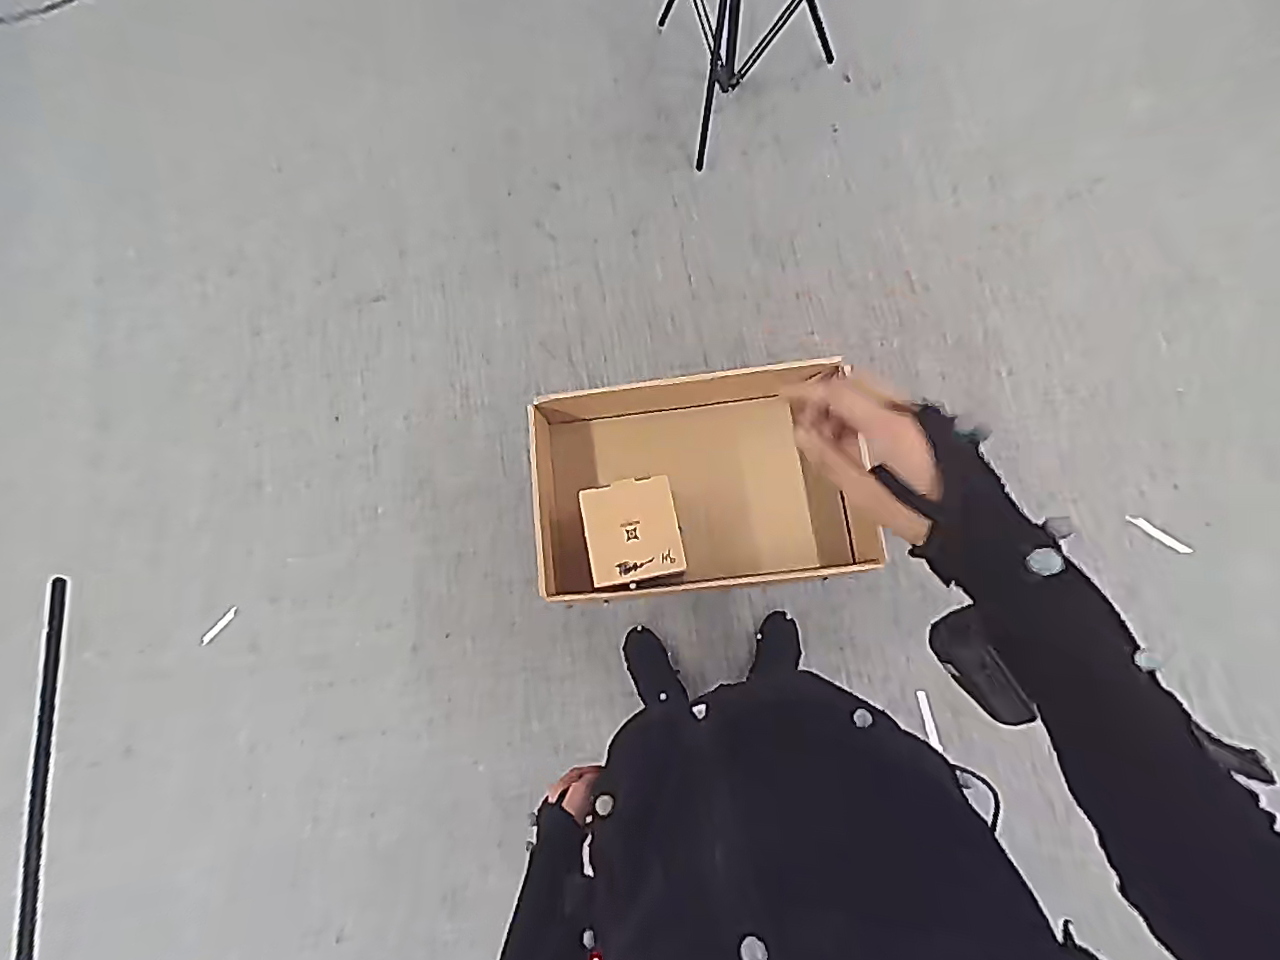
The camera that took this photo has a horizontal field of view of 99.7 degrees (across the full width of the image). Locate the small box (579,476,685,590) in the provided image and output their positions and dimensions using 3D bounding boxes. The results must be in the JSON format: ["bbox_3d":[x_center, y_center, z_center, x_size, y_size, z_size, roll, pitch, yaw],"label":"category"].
[{"bbox_3d":[-0.011,0.108,1.028,0.168,0.176,0.179,-12,76,3],"label":"small box"}]
